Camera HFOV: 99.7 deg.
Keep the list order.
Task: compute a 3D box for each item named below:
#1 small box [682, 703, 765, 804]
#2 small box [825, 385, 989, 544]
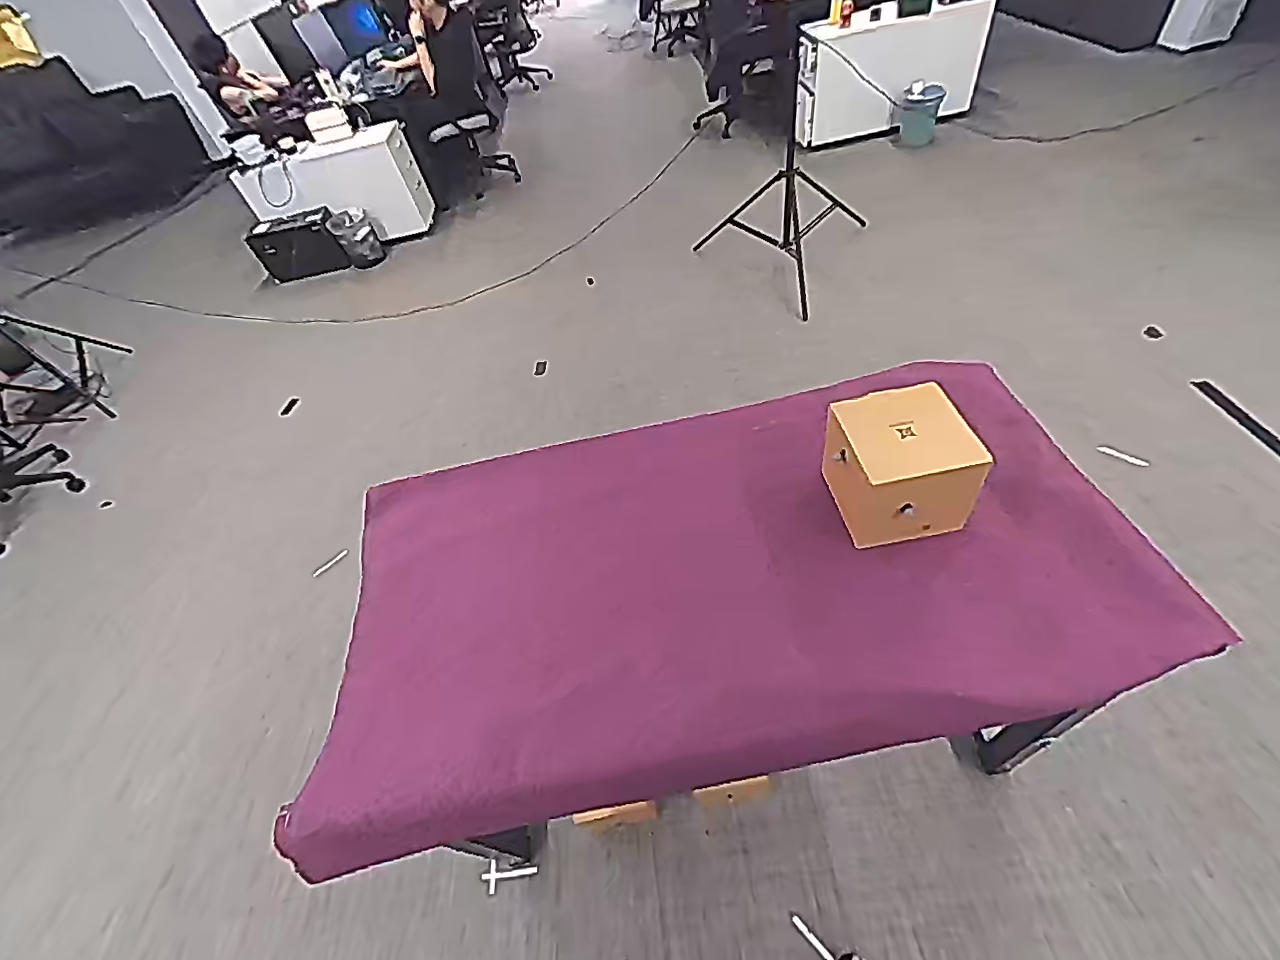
[{"bbox_3d":[0.200,0.657,1.289,0.168,0.176,0.179,-10,48,3],"label":"small box"},{"bbox_3d":[0.402,-0.016,0.849,0.168,0.176,0.179,-12,48,4],"label":"small box"}]
